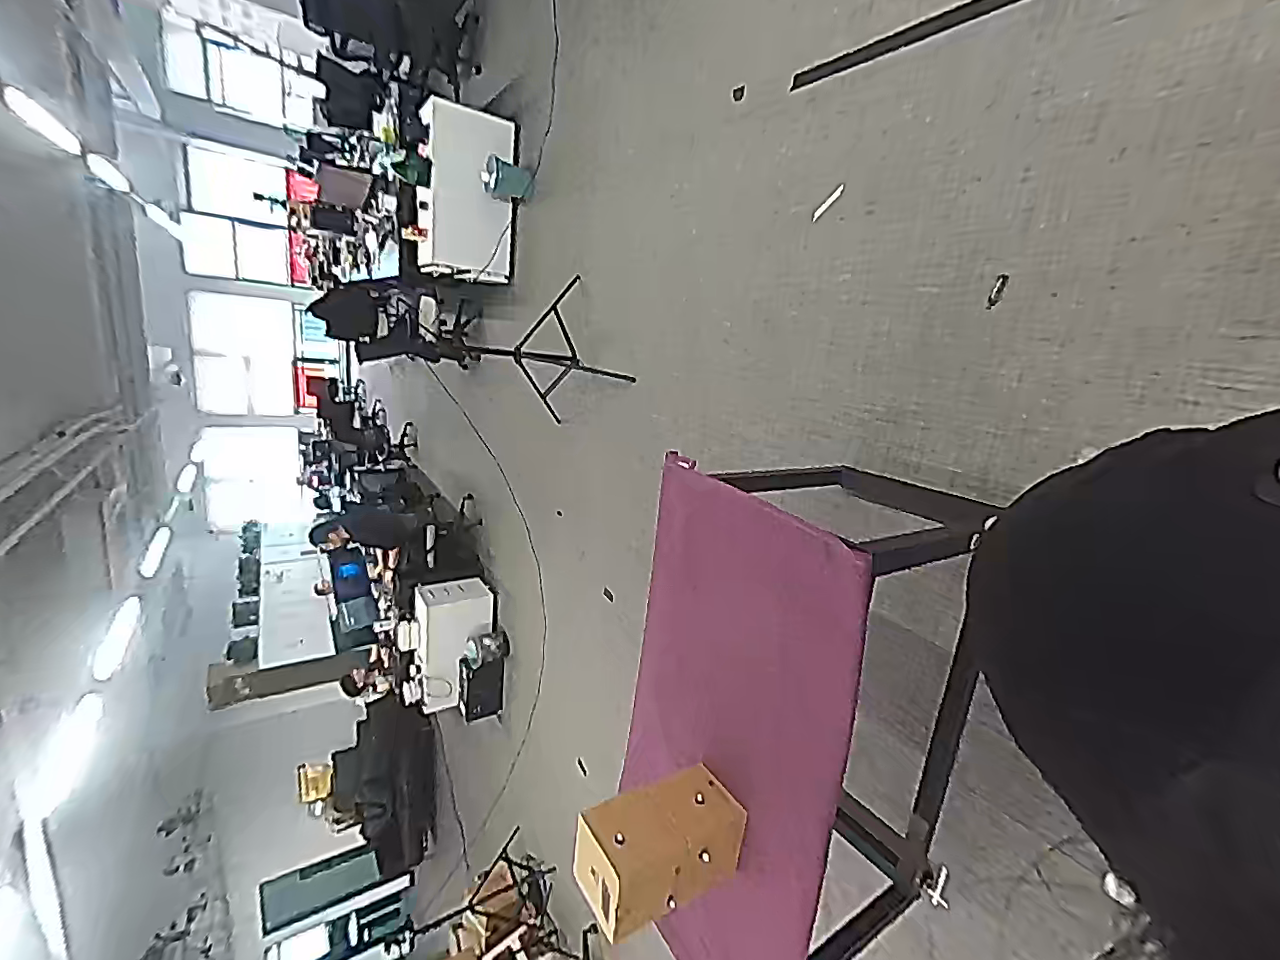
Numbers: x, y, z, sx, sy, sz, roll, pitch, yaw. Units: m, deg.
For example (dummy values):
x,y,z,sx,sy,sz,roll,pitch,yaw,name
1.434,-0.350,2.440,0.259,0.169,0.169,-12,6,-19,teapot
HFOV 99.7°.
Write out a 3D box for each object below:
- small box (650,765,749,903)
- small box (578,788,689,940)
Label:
x,y,z,sx,sy,sz,roll,pitch,yaw,name
0.126,0.796,1.237,0.168,0.176,0.179,28,116,53,small box
-0.015,0.802,1.152,0.179,0.176,0.168,25,113,54,small box
